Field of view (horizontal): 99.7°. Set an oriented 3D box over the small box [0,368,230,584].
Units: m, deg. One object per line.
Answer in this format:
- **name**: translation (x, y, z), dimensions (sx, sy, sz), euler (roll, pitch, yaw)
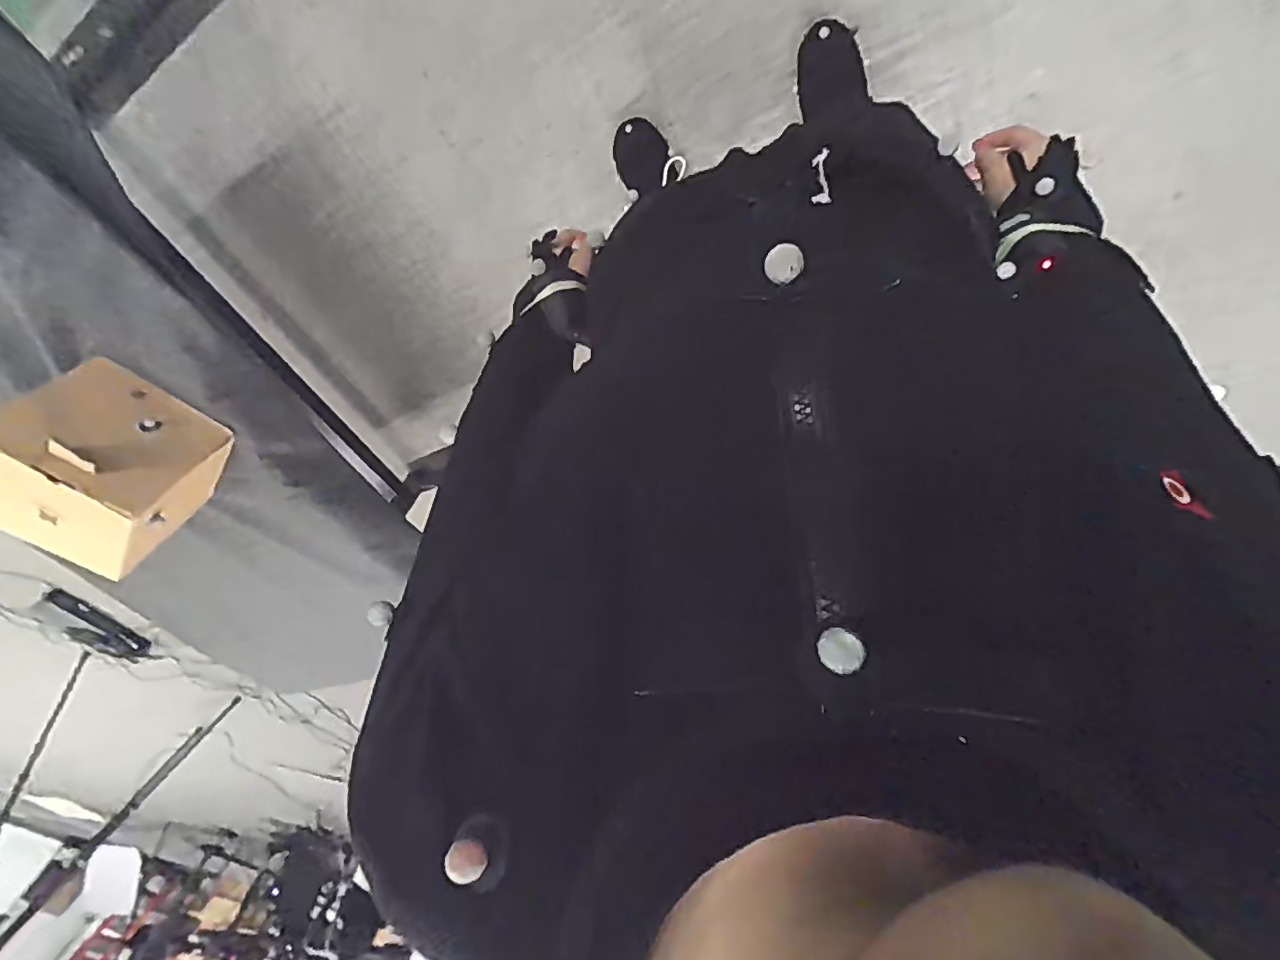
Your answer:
- **small box**: translation (-0.670, -0.005, 0.687), dimensions (0.168, 0.176, 0.179), euler (36, 127, -20)
